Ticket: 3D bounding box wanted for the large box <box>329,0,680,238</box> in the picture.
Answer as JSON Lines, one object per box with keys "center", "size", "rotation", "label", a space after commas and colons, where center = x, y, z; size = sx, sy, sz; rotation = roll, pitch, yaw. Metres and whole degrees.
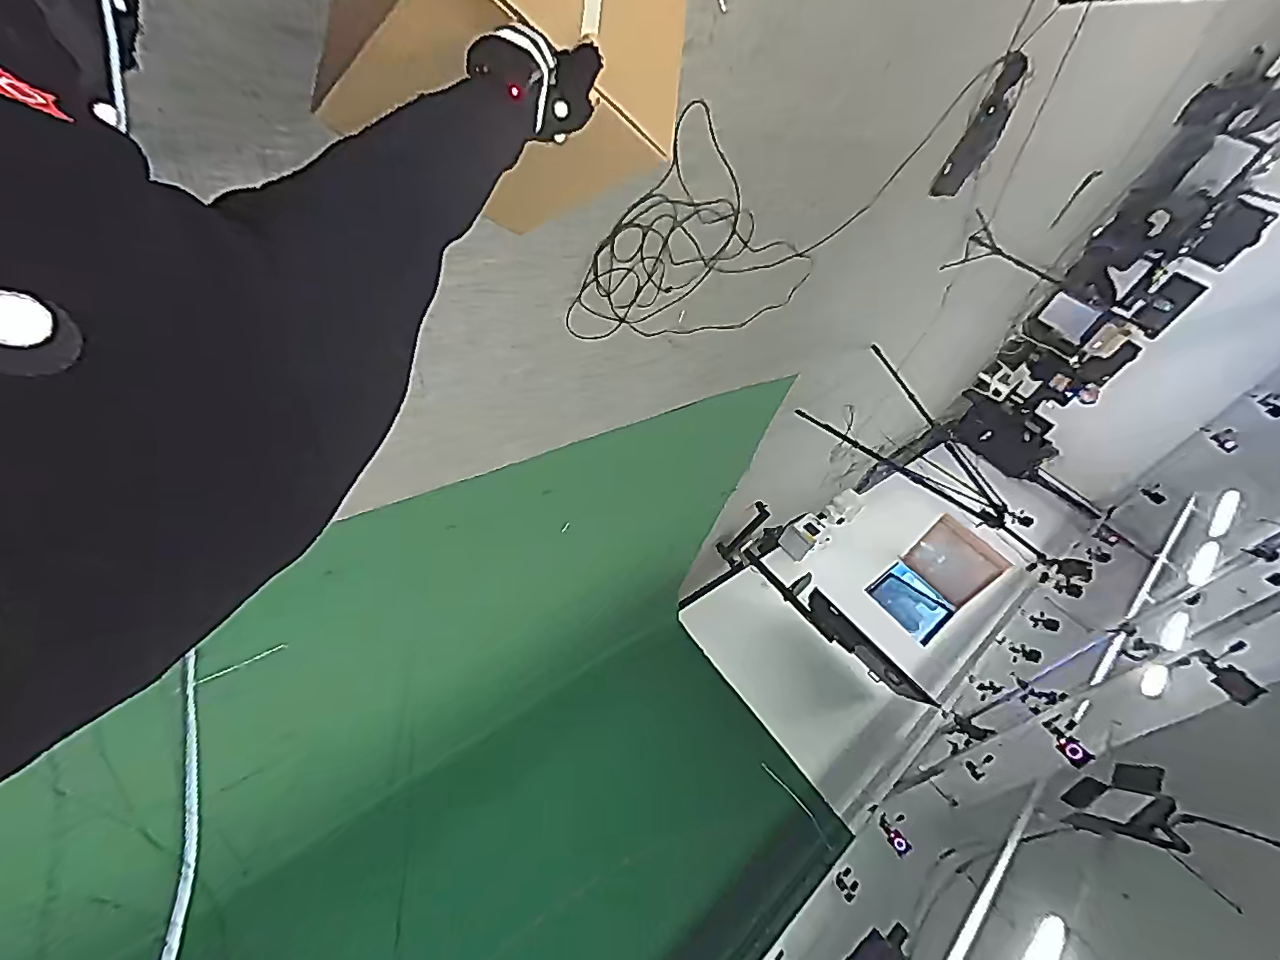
{"center": [-0.162, -0.607, 0.694], "size": [0.320, 0.320, 0.408], "rotation": [12, 80, -48], "label": "large box"}
